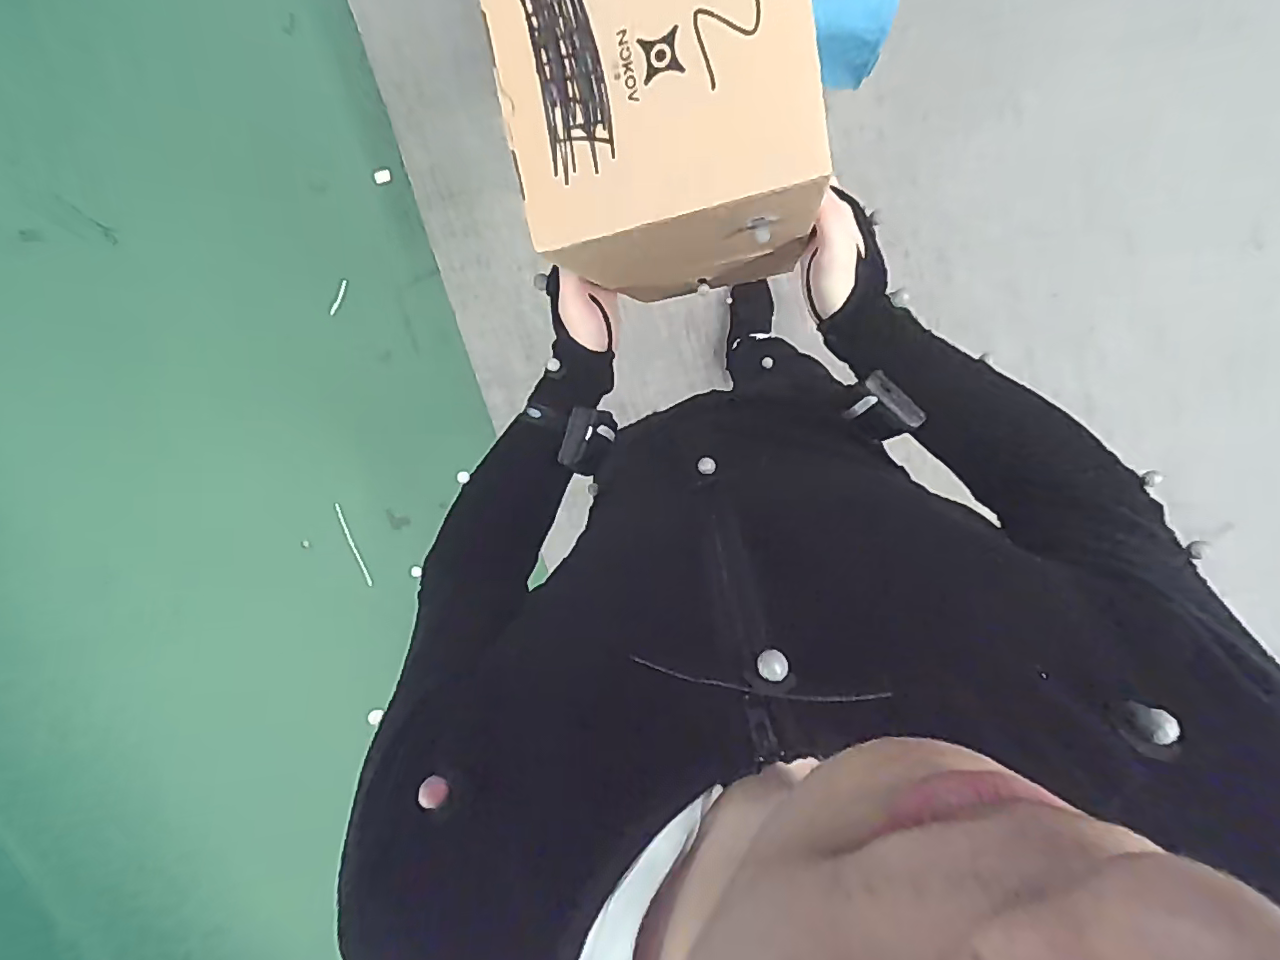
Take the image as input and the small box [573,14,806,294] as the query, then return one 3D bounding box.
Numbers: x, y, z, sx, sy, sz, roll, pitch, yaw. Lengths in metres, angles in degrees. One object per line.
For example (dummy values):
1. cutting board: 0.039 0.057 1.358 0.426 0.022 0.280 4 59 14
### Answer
1. small box: 0.057 -0.286 0.523 0.179 0.176 0.168 -8 101 16
